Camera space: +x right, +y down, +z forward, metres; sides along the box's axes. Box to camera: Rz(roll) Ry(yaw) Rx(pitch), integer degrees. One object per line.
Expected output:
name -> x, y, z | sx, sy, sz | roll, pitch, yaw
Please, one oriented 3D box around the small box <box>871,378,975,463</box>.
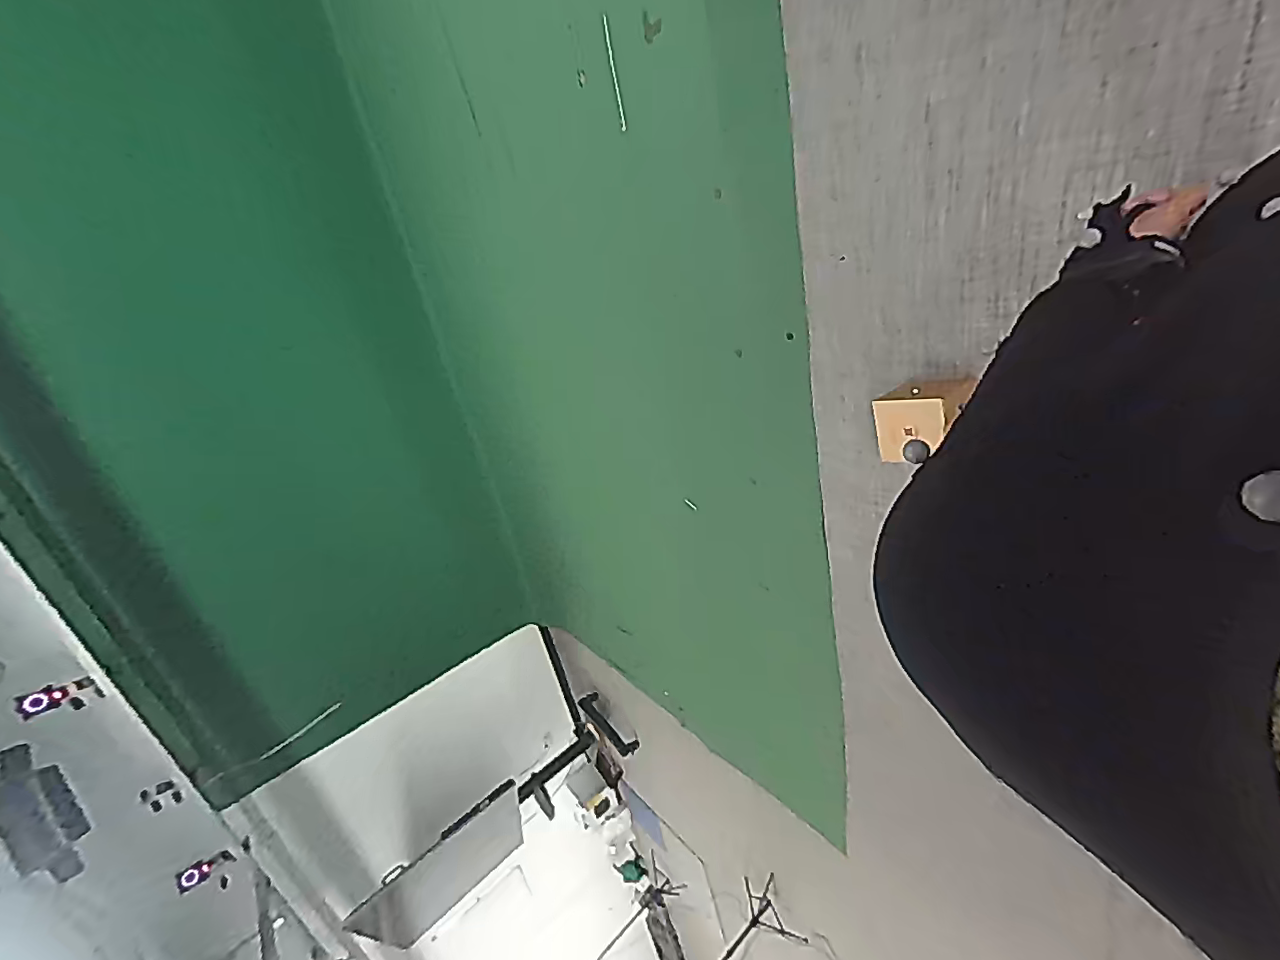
small box -> 0.714, -0.152, 1.356 | 0.179, 0.176, 0.168 | 8, 118, 54
